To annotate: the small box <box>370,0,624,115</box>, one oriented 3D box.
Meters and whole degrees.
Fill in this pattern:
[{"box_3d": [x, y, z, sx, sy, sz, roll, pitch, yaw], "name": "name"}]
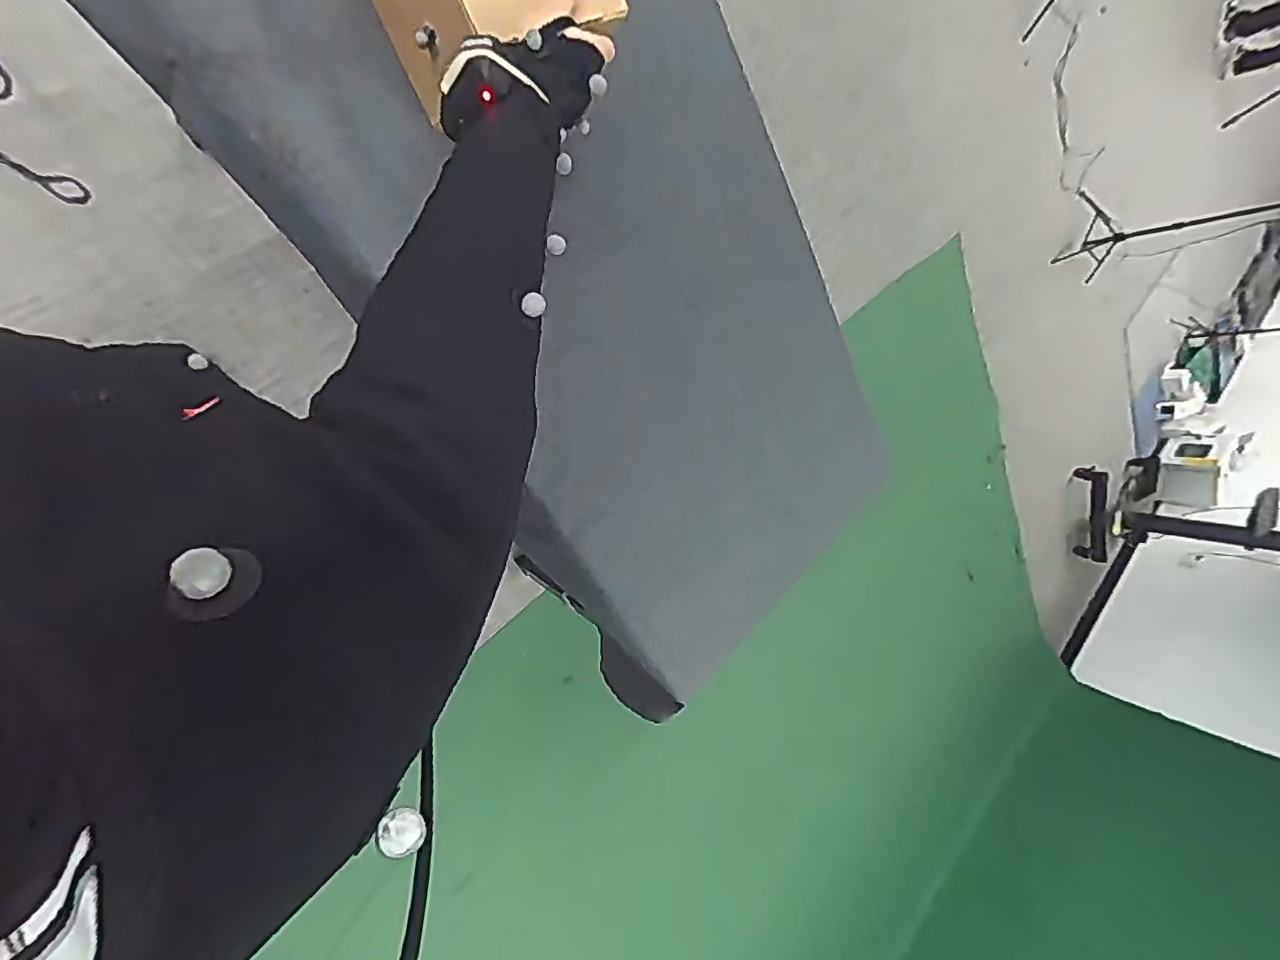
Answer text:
[{"box_3d": [-0.150, -0.479, 0.509, 0.168, 0.176, 0.179, -37, 115, -25], "name": "small box"}]
